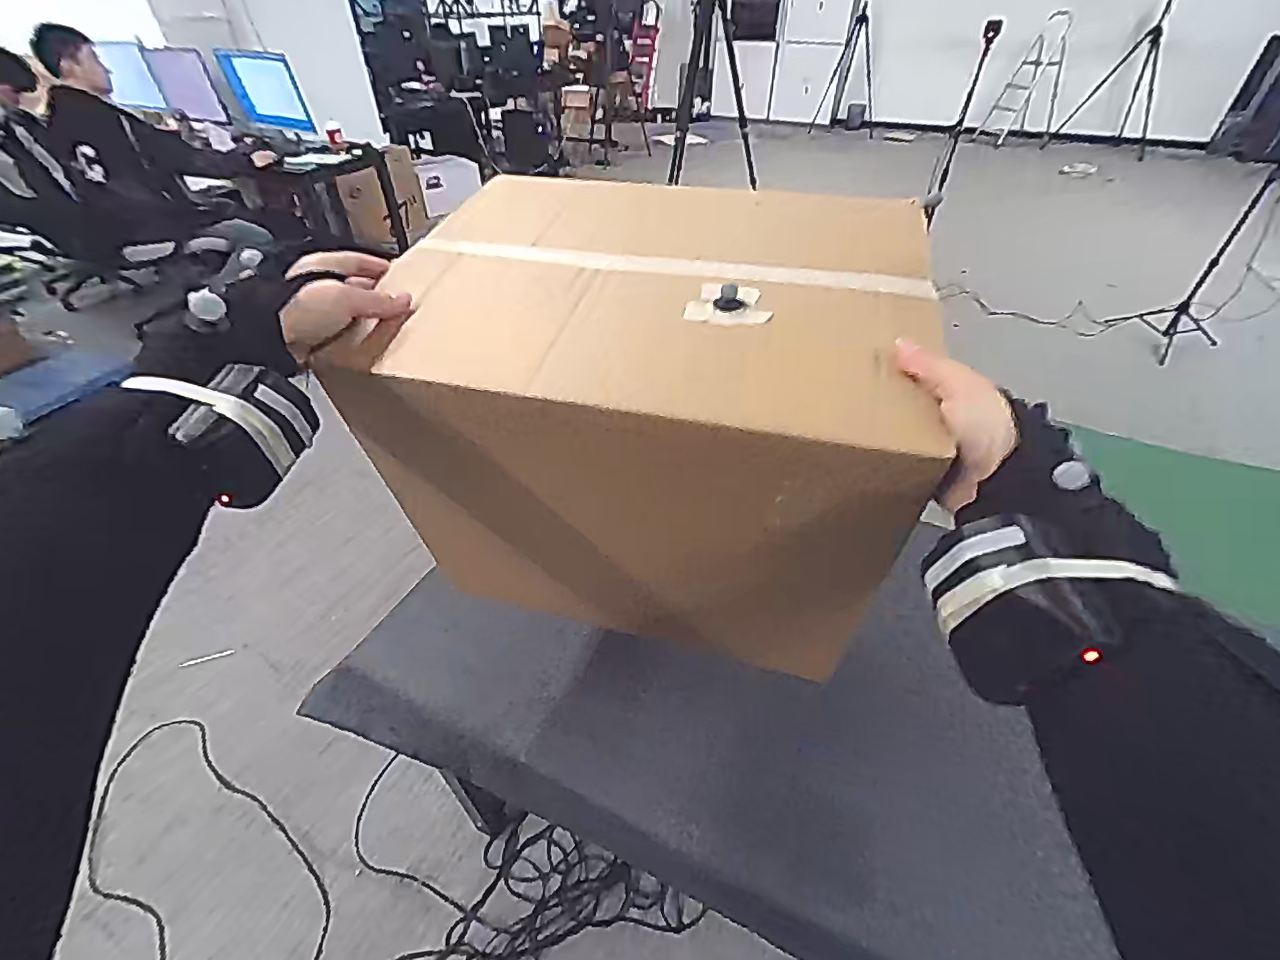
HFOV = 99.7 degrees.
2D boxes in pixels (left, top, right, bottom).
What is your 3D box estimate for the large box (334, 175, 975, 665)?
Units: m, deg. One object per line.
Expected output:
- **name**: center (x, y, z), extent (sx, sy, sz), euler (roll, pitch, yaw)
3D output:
- **large box**: center (0.027, -0.063, 0.526), extent (0.408, 0.320, 0.320), euler (11, 52, 11)
